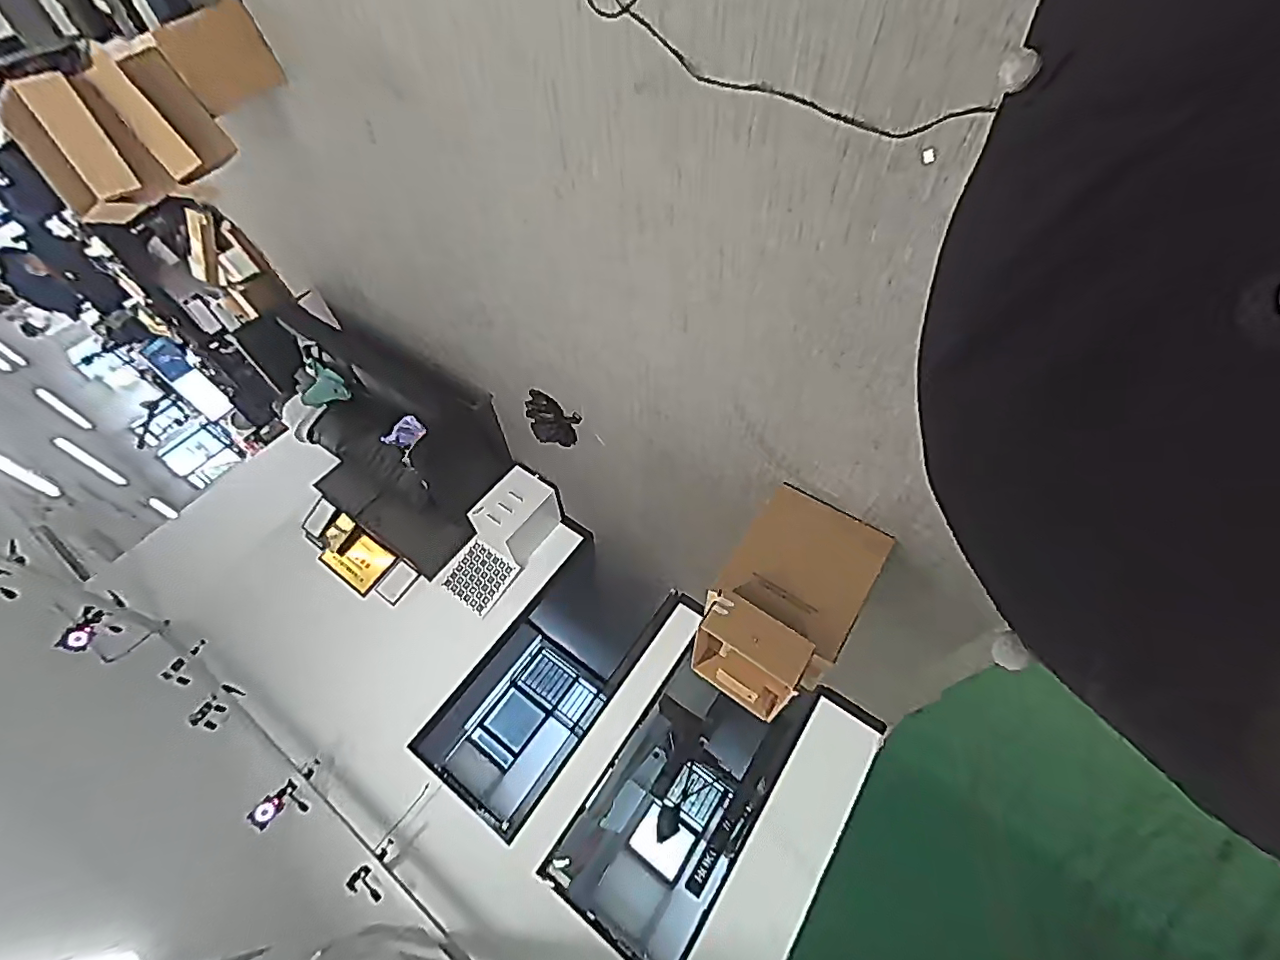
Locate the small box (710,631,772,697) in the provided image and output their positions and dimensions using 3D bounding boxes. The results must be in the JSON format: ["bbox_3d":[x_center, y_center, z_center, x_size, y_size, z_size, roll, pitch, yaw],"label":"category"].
[{"bbox_3d":[0.400,0.724,2.149,0.179,0.176,0.168,31,155,21],"label":"small box"}]
